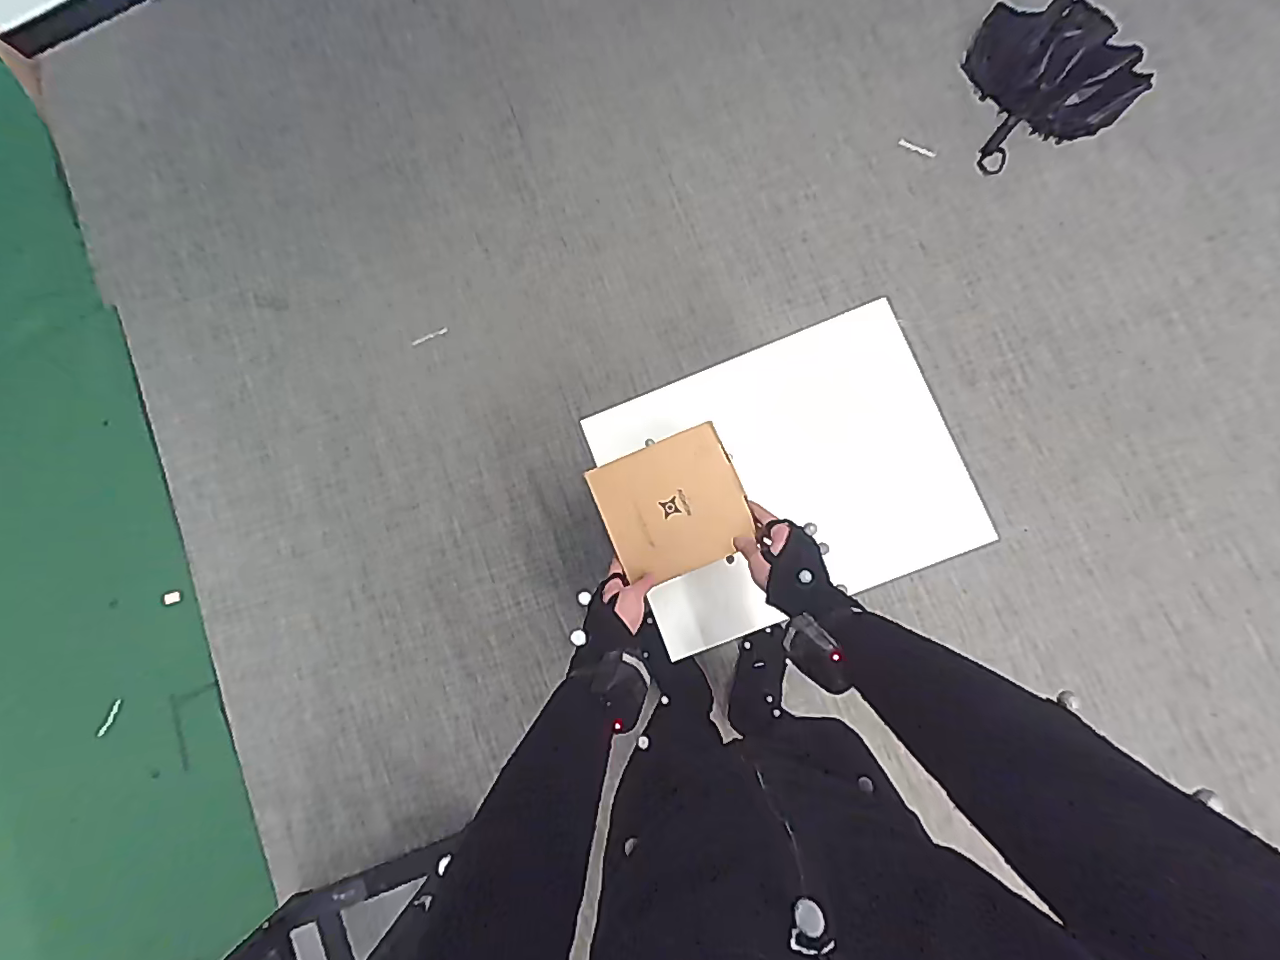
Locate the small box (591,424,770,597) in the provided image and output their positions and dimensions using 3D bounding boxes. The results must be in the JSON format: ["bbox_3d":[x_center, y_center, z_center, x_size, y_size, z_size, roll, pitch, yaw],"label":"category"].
[{"bbox_3d":[0.052,0.044,0.733,0.179,0.176,0.168,-22,81,2],"label":"small box"}]
